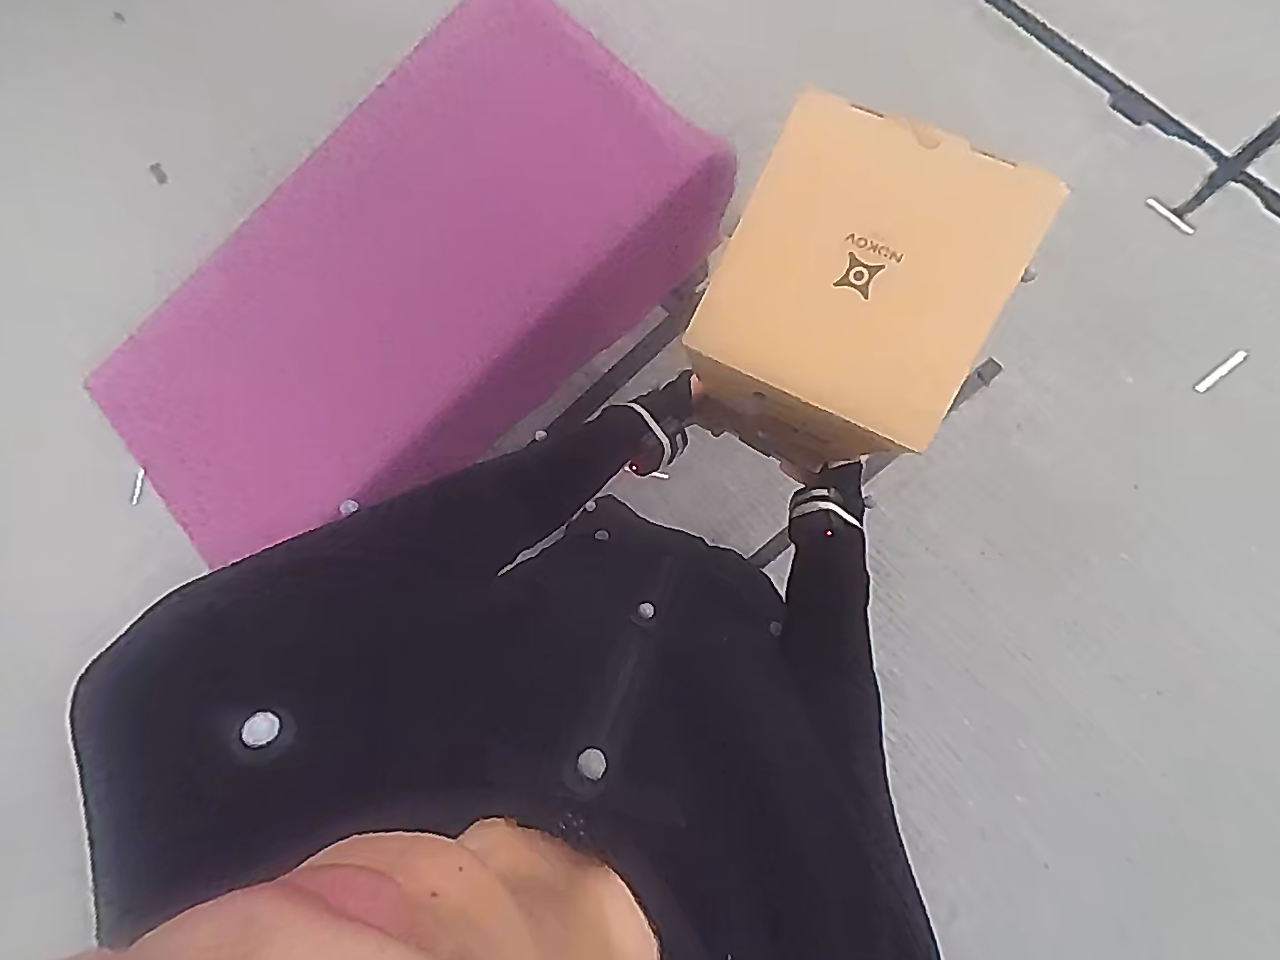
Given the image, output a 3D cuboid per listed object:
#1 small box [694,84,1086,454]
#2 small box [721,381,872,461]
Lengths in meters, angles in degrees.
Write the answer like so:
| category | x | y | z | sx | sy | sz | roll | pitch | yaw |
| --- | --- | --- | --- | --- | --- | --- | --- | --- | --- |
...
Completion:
| category | x | y | z | sx | sy | sz | roll | pitch | yaw |
| --- | --- | --- | --- | --- | --- | --- | --- | --- | --- |
| small box | 0.158 | -0.129 | 0.401 | 0.168 | 0.176 | 0.179 | 27 | 95 | 9 |
| small box | 0.191 | -0.134 | 0.561 | 0.168 | 0.176 | 0.179 | 30 | 97 | 9 |
